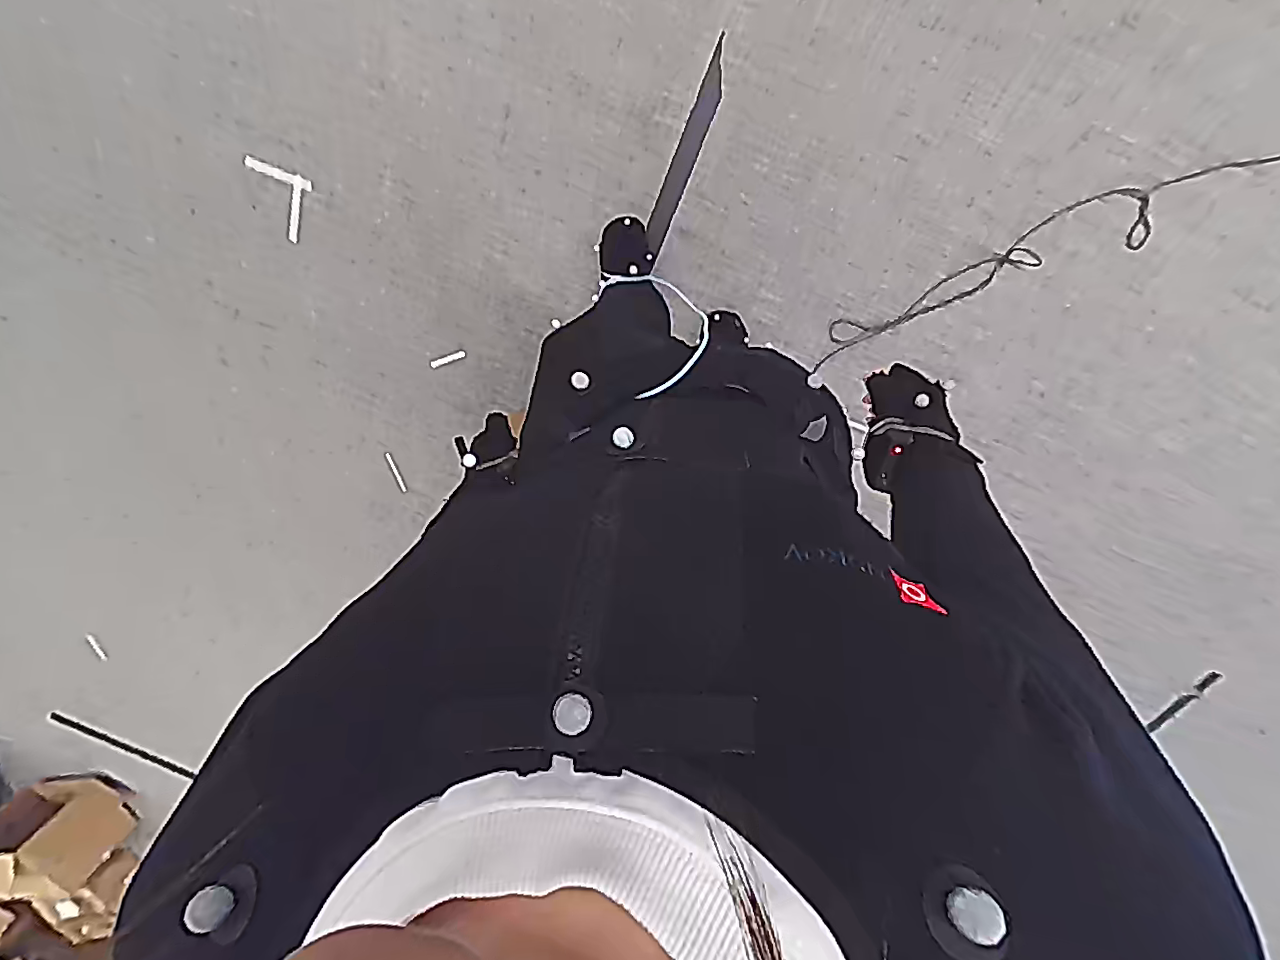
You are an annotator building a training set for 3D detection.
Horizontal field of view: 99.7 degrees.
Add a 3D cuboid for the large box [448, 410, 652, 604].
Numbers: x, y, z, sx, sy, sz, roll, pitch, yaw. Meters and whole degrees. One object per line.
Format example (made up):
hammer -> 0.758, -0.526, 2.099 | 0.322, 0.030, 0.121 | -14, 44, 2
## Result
large box -> -0.216, 0.054, 1.397 | 0.408, 0.320, 0.320 | 21, 112, 2
